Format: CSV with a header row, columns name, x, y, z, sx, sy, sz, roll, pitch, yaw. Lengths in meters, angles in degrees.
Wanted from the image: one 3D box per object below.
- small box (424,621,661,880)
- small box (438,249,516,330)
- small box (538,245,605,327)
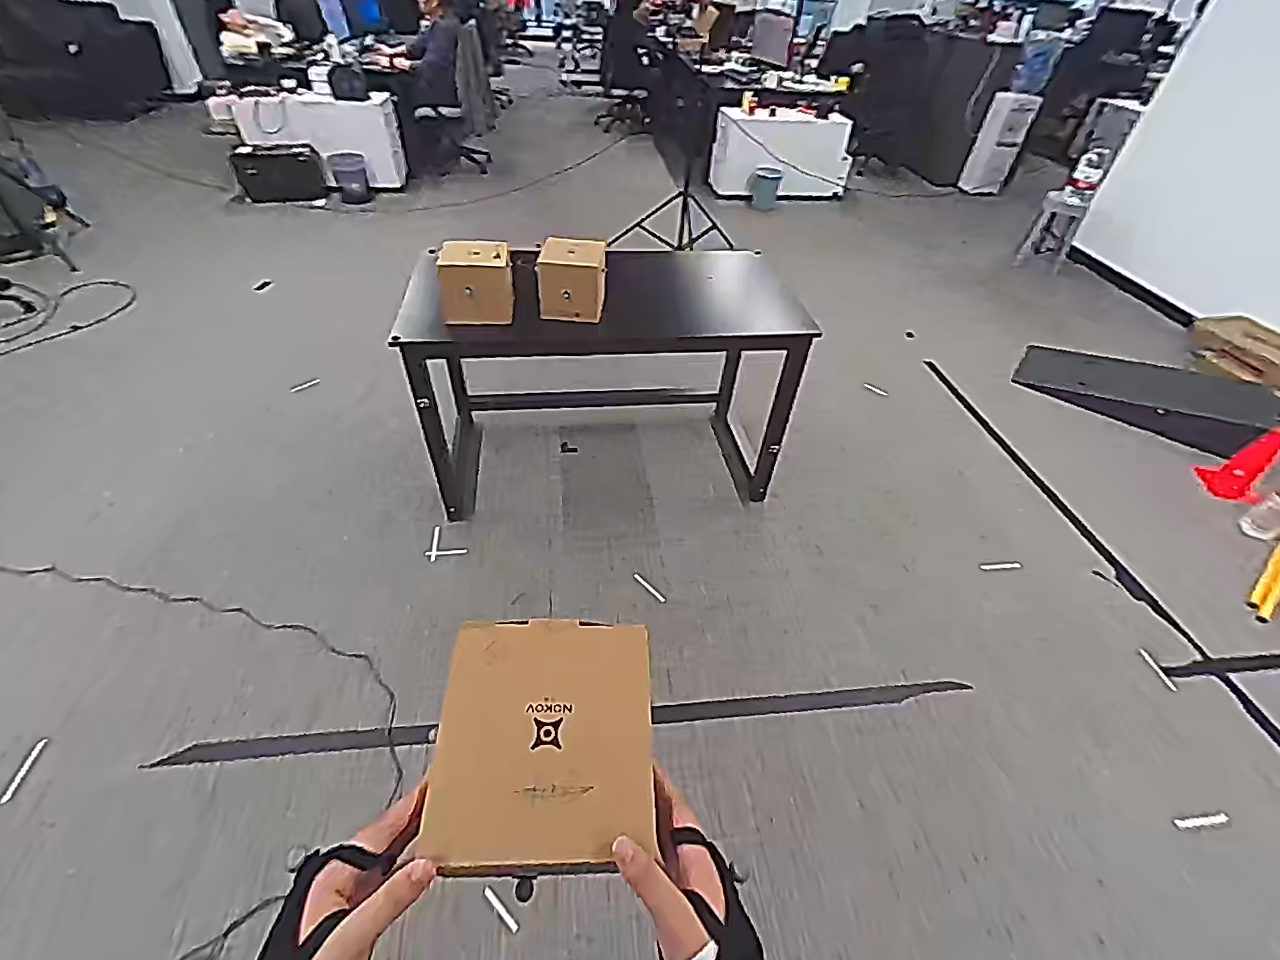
name,x,y,z,sx,sy,sz,roll,pitch,yaw
small box,-0.079,0.243,0.485,0.168,0.176,0.179,2,52,-7
small box,-0.449,-0.533,1.516,0.179,0.176,0.168,-3,44,-7
small box,-0.191,-0.558,1.562,0.168,0.176,0.179,5,43,0
